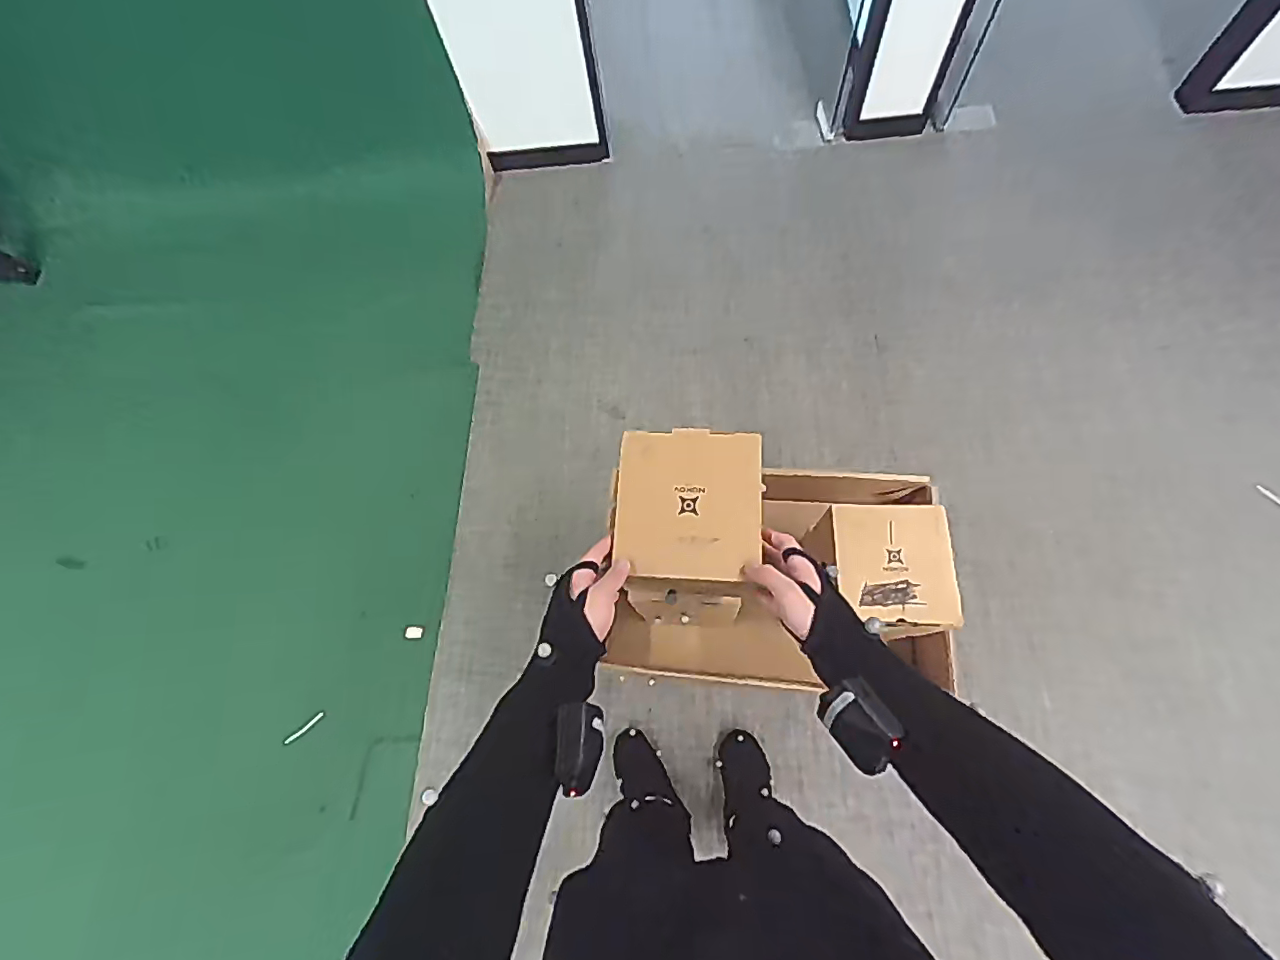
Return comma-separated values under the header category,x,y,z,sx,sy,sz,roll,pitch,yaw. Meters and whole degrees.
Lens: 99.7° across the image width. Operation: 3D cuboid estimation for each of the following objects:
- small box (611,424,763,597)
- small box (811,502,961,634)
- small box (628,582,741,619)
category,x,y,z,sx,sy,sz,roll,pitch,yaw
small box,0.061,0.045,0.686,0.168,0.176,0.179,3,72,6
small box,0.370,0.144,0.846,0.168,0.176,0.179,1,69,6
small box,0.076,0.123,0.883,0.168,0.176,0.179,1,69,7
